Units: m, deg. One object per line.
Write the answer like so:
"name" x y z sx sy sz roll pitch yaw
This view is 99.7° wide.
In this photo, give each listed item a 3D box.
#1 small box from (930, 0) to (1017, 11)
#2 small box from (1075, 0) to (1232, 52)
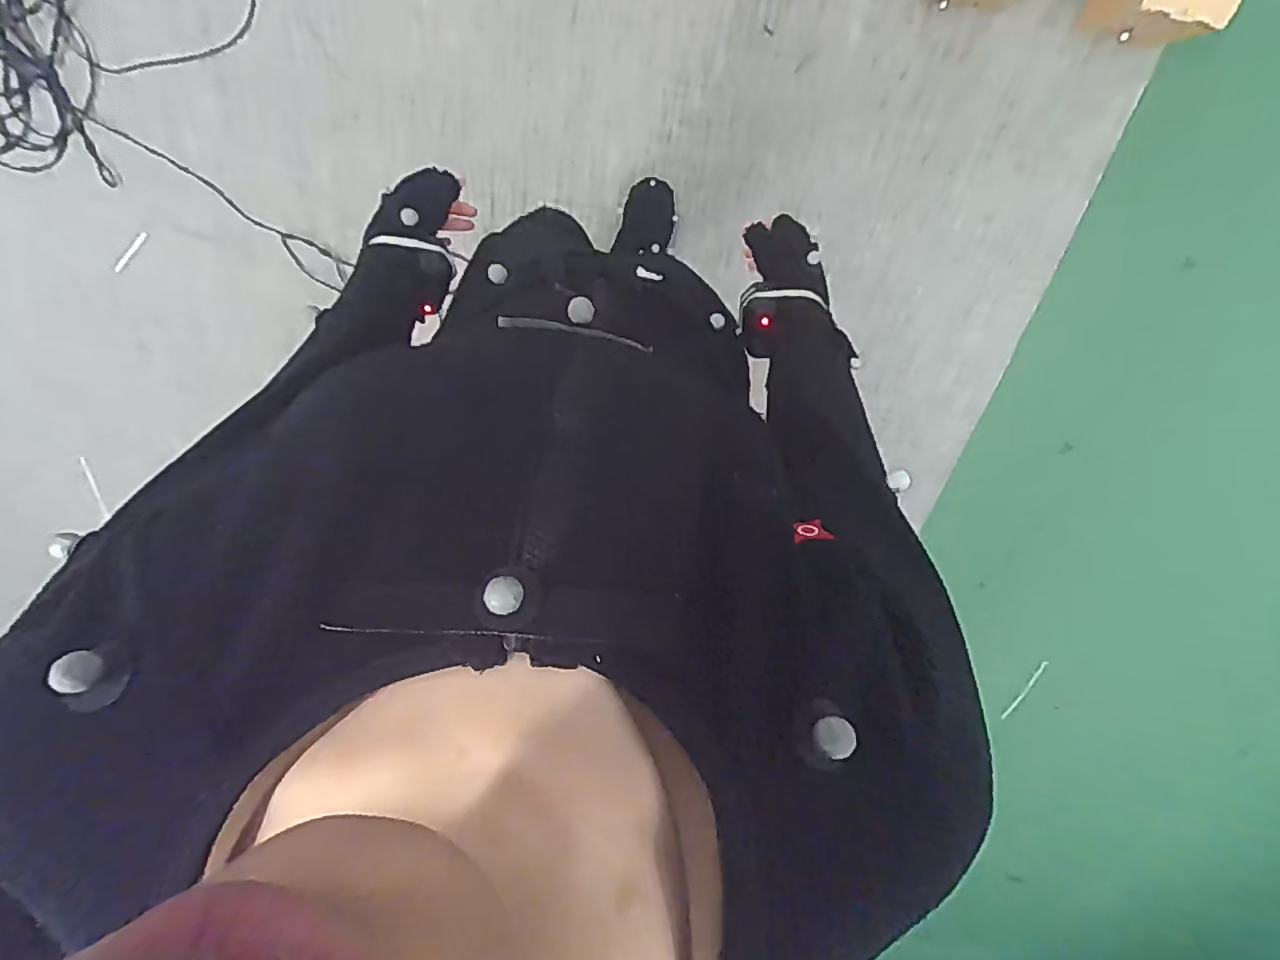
"small box" 0.635 -0.967 0.958 0.168 0.176 0.179 5 118 -2
"small box" 0.955 -0.918 0.982 0.168 0.176 0.179 10 119 -4
